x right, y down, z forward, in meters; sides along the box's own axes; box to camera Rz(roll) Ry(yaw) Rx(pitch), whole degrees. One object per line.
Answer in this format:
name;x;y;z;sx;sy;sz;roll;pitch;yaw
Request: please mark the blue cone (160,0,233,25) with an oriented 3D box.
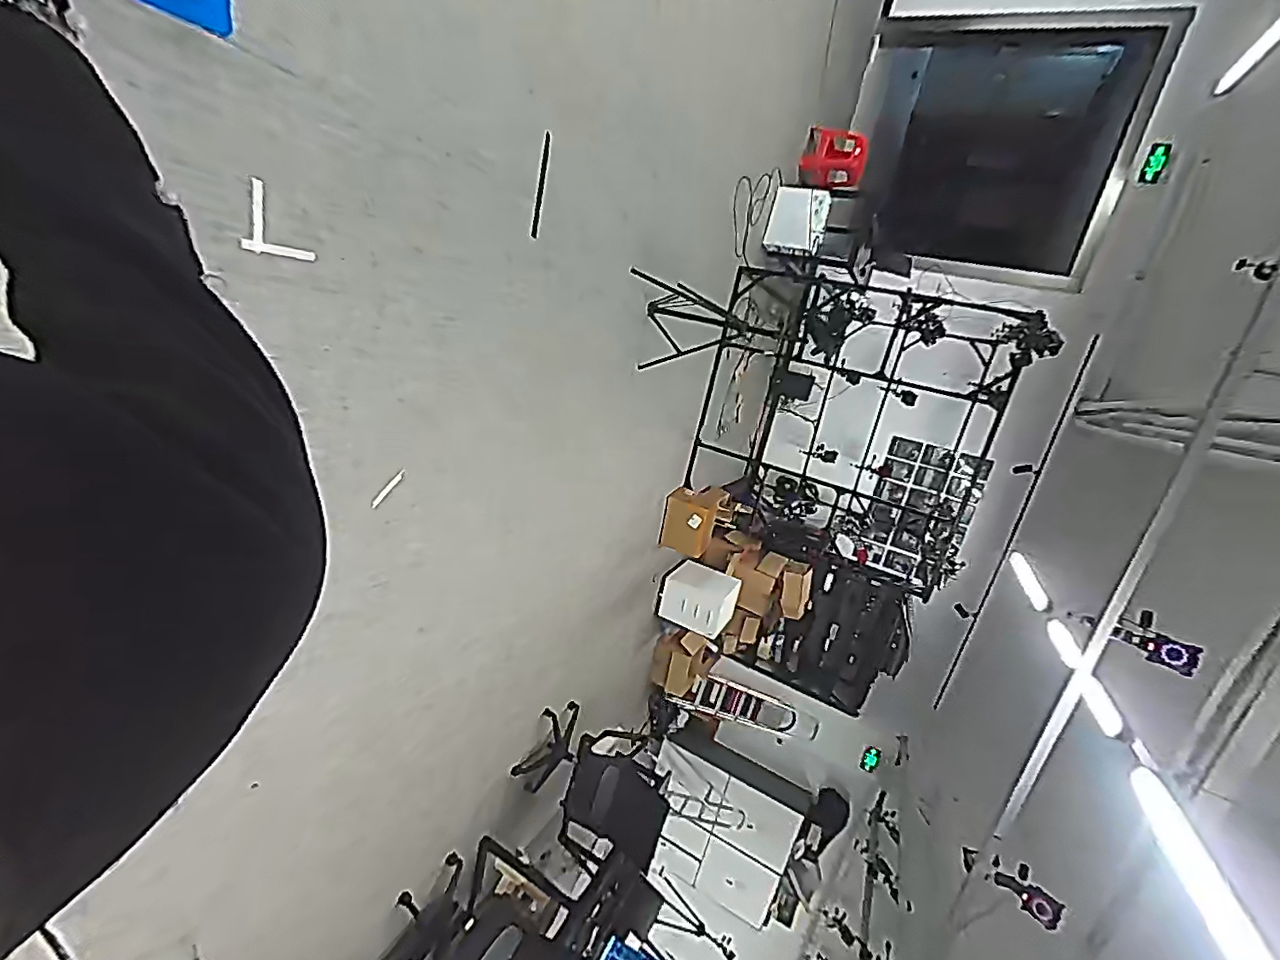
blue cone;-0.725;-0.943;0.946;0.193;0.380;0.192;-24;128;-60
